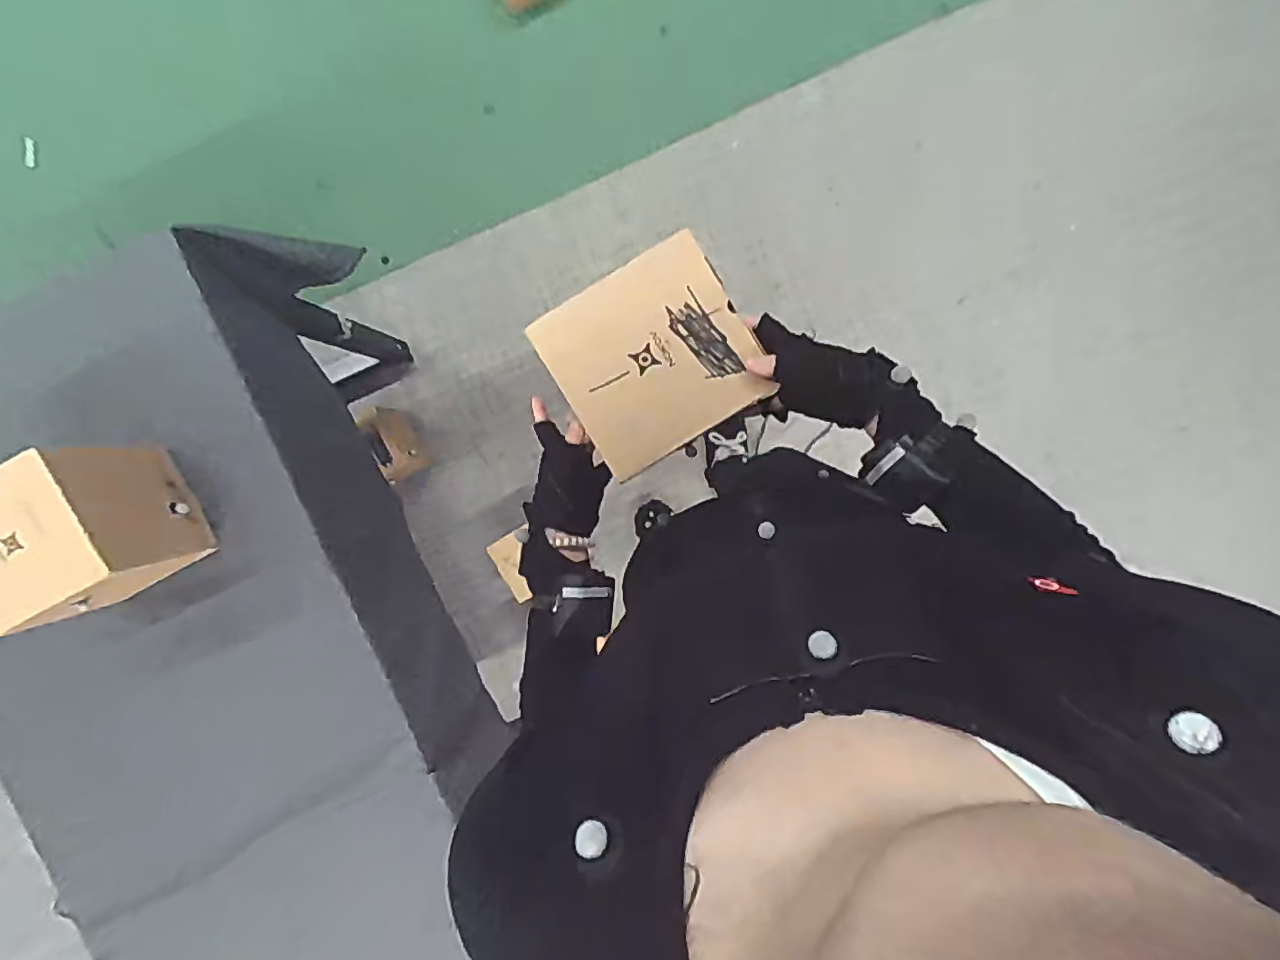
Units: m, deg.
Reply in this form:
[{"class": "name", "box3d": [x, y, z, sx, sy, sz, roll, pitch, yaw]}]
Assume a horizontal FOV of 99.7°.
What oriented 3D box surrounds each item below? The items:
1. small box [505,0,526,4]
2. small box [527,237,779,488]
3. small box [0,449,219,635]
[{"class": "small box", "box3d": [-0.299, -1.316, 1.310, 0.168, 0.176, 0.179, -24, 94, 3]}, {"class": "small box", "box3d": [0.011, -0.107, 0.562, 0.179, 0.176, 0.168, -32, 90, 1]}, {"class": "small box", "box3d": [-0.708, 0.070, 0.694, 0.179, 0.176, 0.168, -26, 94, 3]}]
